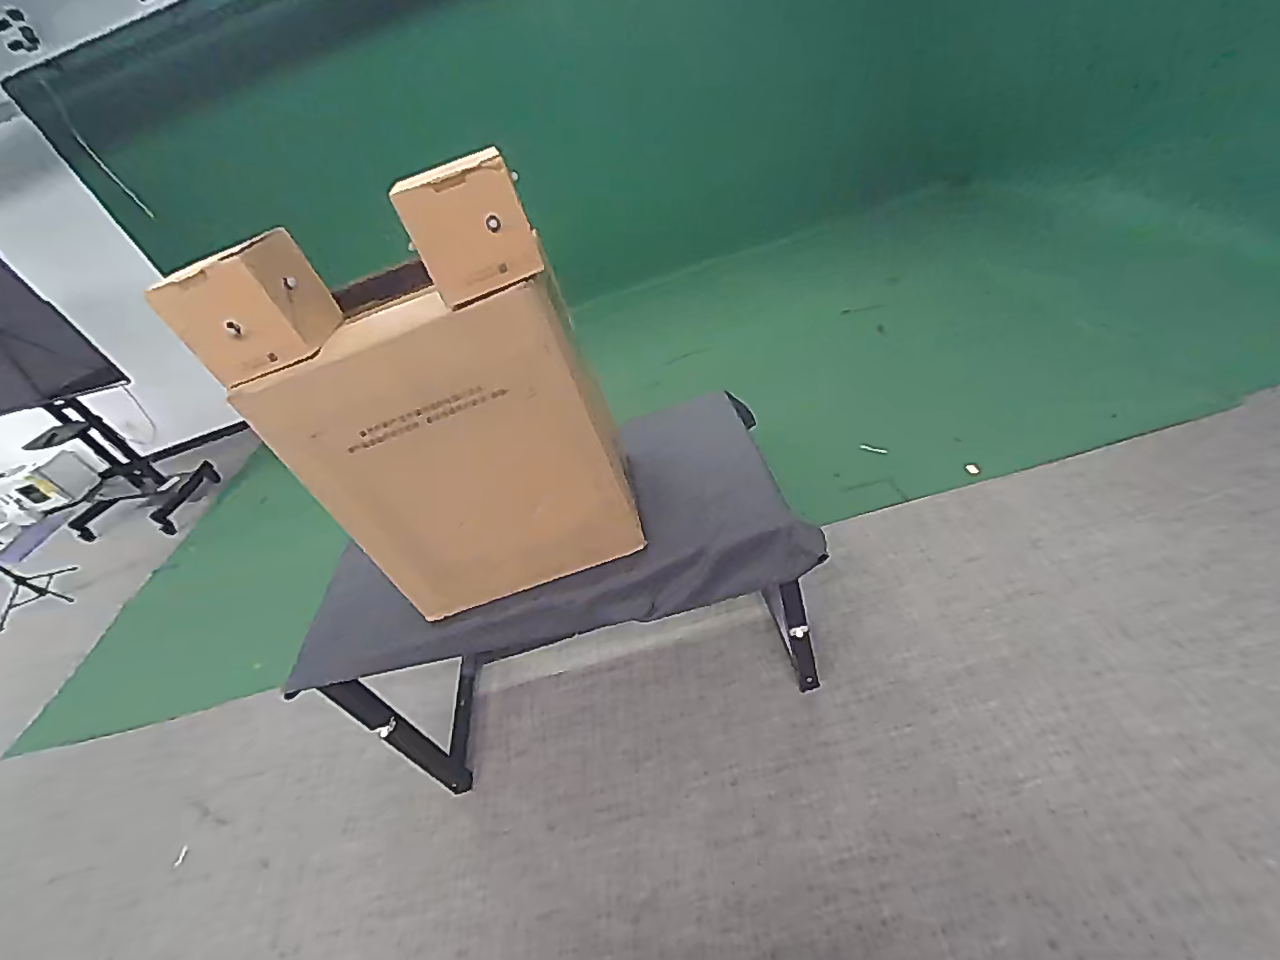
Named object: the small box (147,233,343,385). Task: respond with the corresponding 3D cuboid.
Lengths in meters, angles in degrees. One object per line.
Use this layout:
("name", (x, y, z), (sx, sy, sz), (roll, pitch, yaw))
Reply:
("small box", (-0.631, -0.277, 0.896), (0.168, 0.176, 0.179), (-19, 38, 4))

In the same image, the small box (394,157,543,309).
("small box", (-0.265, -0.391, 0.861), (0.168, 0.176, 0.179), (-22, 36, -4))
